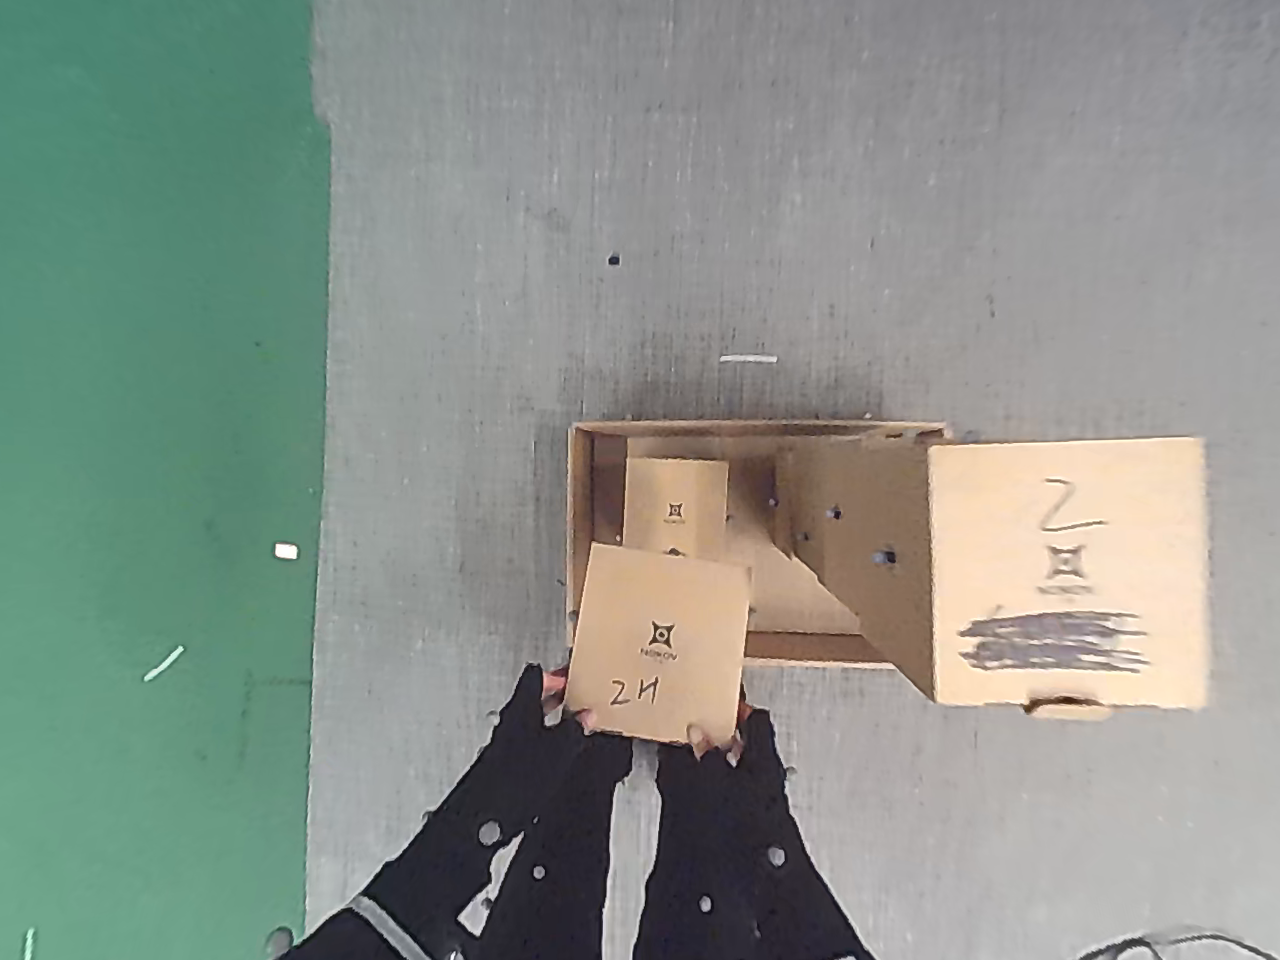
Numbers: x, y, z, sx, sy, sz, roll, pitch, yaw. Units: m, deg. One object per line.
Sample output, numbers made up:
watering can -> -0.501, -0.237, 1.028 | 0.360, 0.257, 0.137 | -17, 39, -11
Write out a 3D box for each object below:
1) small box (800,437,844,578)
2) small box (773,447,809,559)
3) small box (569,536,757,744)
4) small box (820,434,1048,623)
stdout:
small box -> 0.317, 0.034, 0.734 | 0.168, 0.176, 0.179 | 0, 91, 6
small box -> 0.321, 0.031, 0.916 | 0.168, 0.176, 0.179 | -3, 90, 7
small box -> 0.024, 0.169, 0.606 | 0.168, 0.176, 0.179 | 9, 79, 2
small box -> 0.300, 0.043, 0.588 | 0.168, 0.176, 0.179 | 1, 91, 5
